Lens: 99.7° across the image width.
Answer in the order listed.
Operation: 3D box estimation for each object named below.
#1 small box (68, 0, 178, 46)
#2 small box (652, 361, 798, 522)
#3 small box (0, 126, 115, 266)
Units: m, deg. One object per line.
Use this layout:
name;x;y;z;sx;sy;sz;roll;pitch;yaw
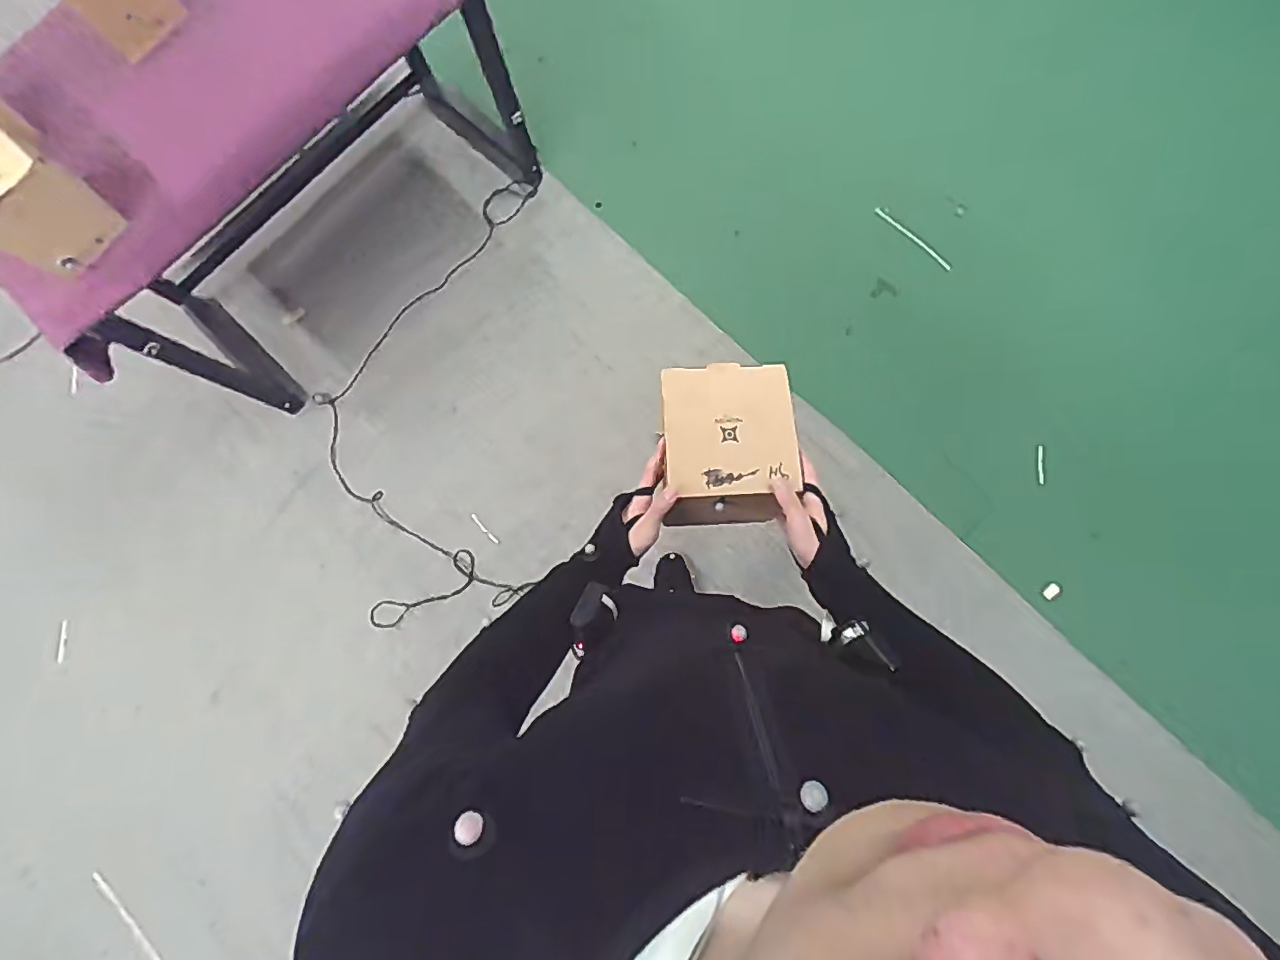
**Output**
small box;-1.100;-1.033;1.080;0.179;0.176;0.168;45;86;7
small box;0.104;-0.046;0.747;0.168;0.176;0.179;-3;74;-2
small box;-1.154;-0.530;1.002;0.179;0.176;0.168;39;85;10
